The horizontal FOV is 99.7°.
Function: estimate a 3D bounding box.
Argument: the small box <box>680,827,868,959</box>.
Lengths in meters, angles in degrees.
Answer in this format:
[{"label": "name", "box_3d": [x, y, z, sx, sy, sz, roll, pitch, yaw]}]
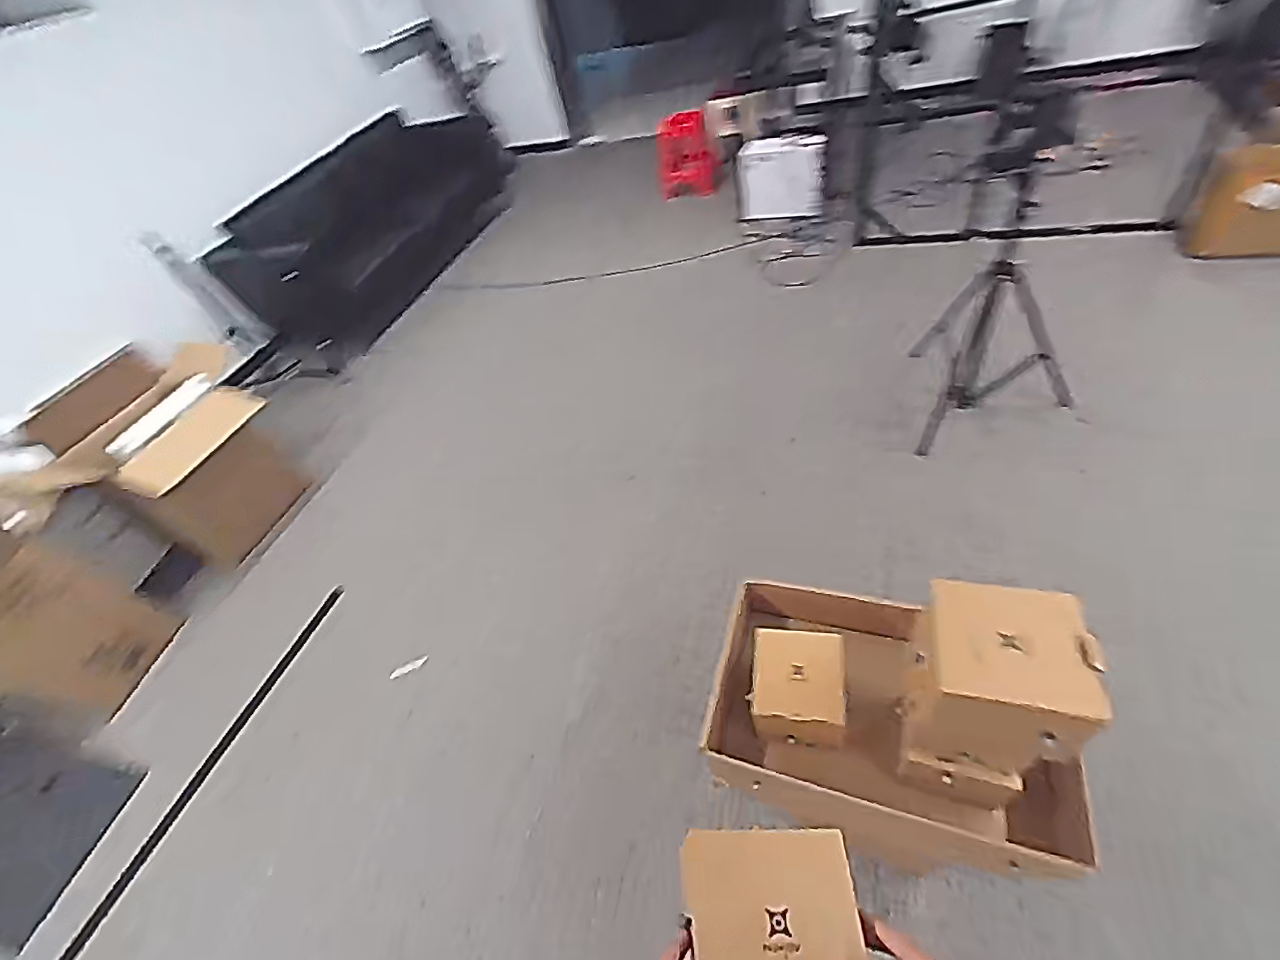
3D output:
[{"label": "small box", "box_3d": [0.134, 0.492, 0.585, 0.168, 0.176, 0.179, -1, 50, -1]}]

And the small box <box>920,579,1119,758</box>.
[{"label": "small box", "box_3d": [0.495, 0.259, 0.738, 0.179, 0.176, 0.168, 4, 49, 20]}]

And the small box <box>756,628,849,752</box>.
[{"label": "small box", "box_3d": [0.329, 0.424, 1.096, 0.168, 0.176, 0.179, 0, 49, 17]}]
